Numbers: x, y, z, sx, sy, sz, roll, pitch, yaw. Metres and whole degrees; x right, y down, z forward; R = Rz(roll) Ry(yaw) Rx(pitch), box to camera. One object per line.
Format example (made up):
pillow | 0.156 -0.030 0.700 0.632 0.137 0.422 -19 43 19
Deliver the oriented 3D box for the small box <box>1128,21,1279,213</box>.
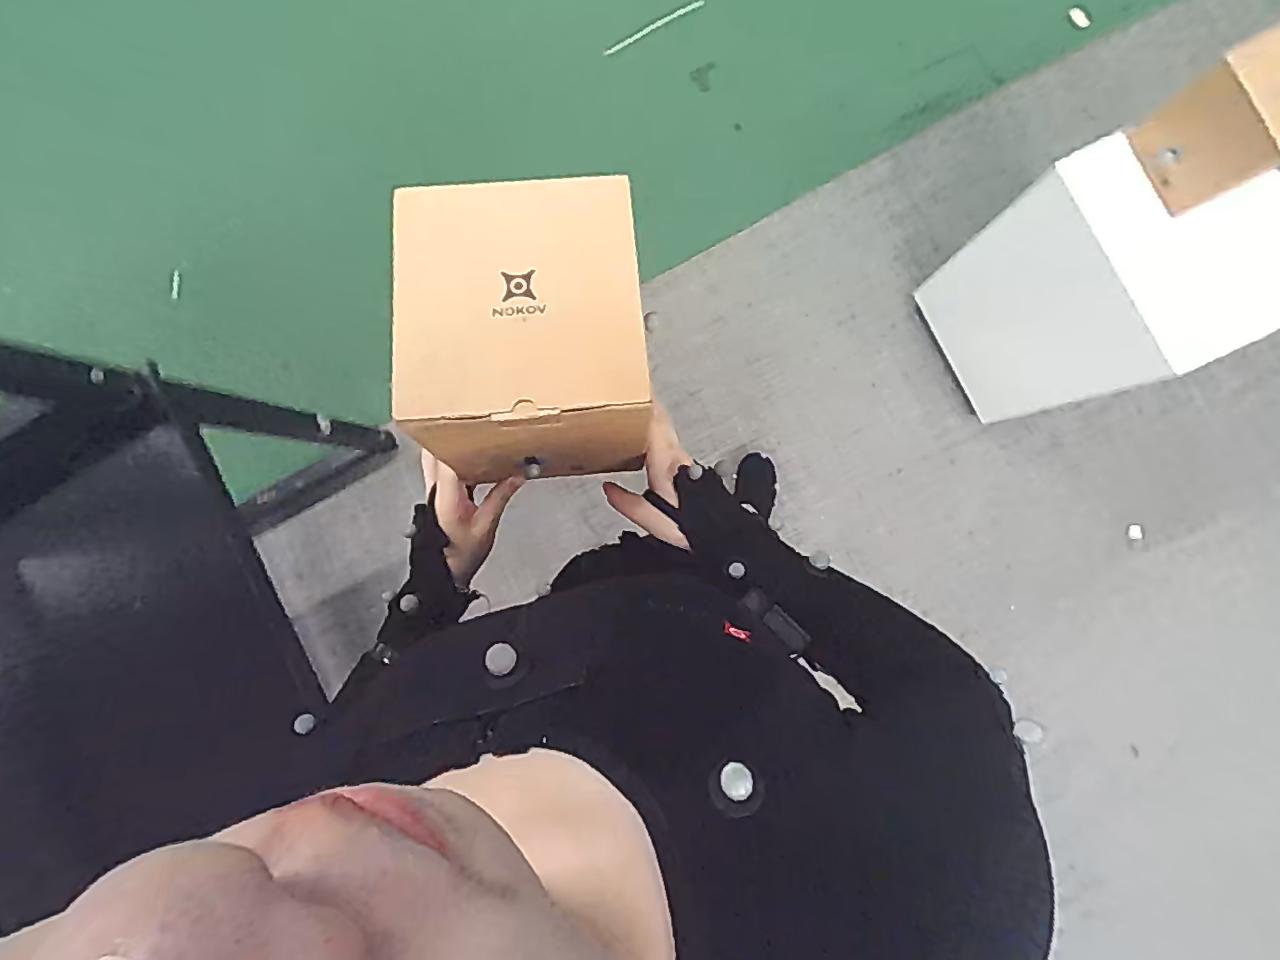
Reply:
small box | 0.892 -0.535 0.789 0.179 0.176 0.168 -26 87 3
